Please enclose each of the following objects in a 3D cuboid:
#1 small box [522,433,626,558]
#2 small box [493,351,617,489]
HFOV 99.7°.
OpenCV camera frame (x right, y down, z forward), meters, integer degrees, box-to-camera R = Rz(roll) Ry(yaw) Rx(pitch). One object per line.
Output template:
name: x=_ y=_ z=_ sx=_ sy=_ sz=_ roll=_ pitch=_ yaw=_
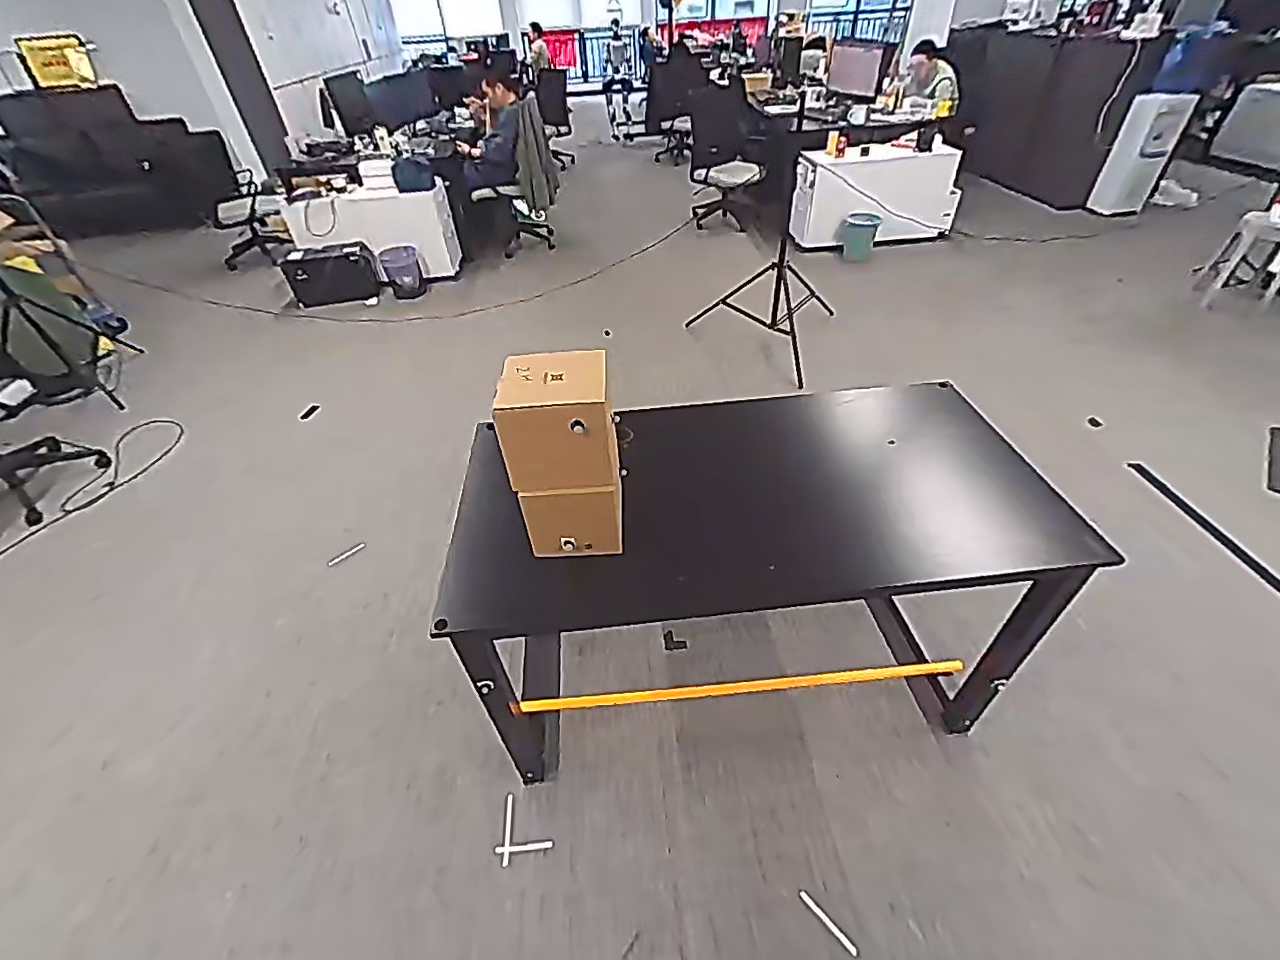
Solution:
small box: x=-0.117 y=0.026 z=1.025 sx=0.168 sy=0.176 sz=0.179 roll=-4 pitch=43 yaw=1
small box: x=-0.131 y=-0.101 z=0.920 sx=0.179 sy=0.176 sz=0.168 roll=-4 pitch=41 yaw=1
